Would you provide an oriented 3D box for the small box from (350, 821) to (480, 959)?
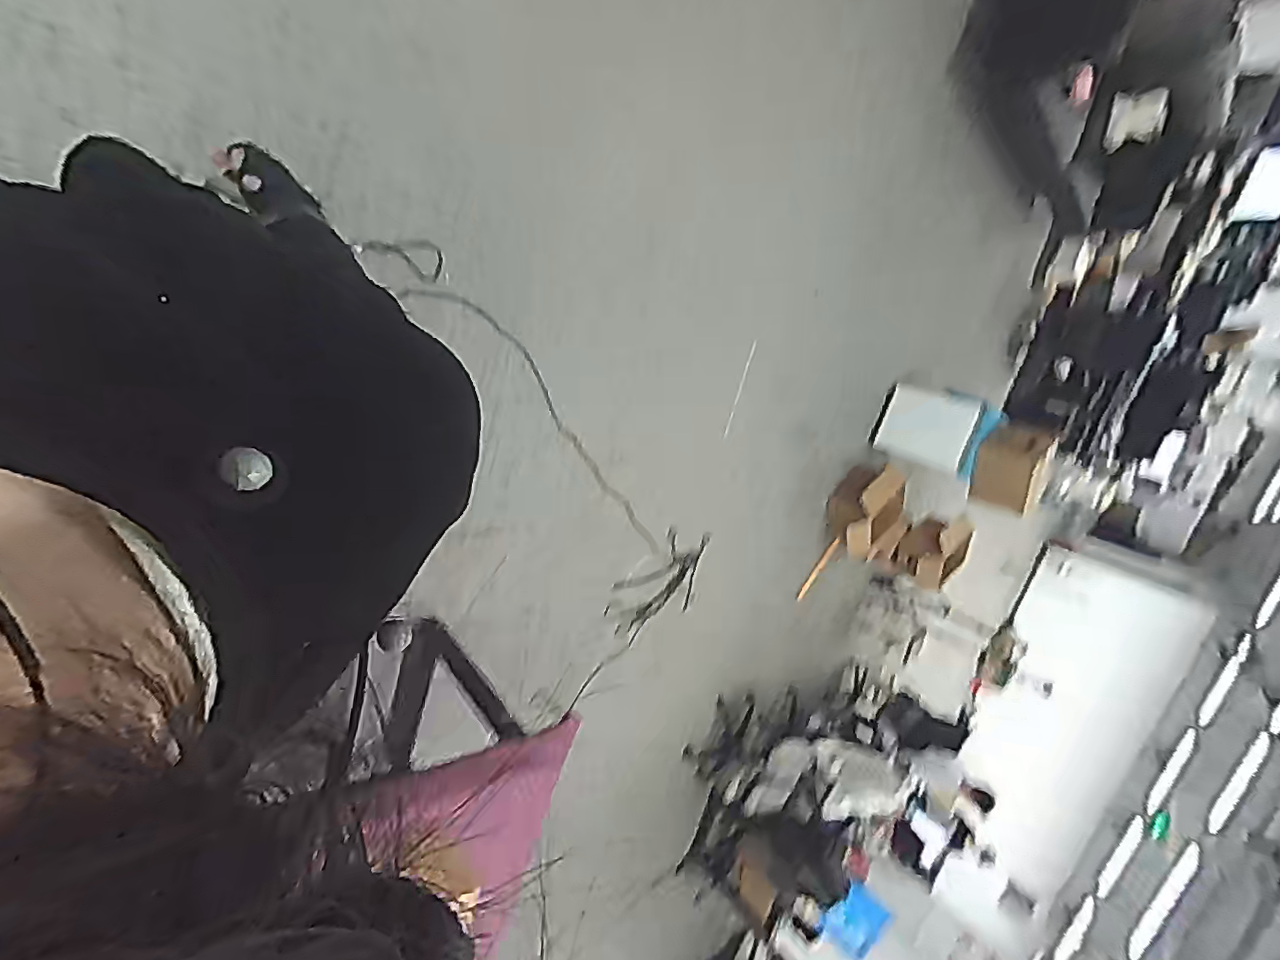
[{"bbox_3d":[-0.440,0.816,1.045,0.168,0.176,0.179,5,107,-46],"label":"small box"}]
